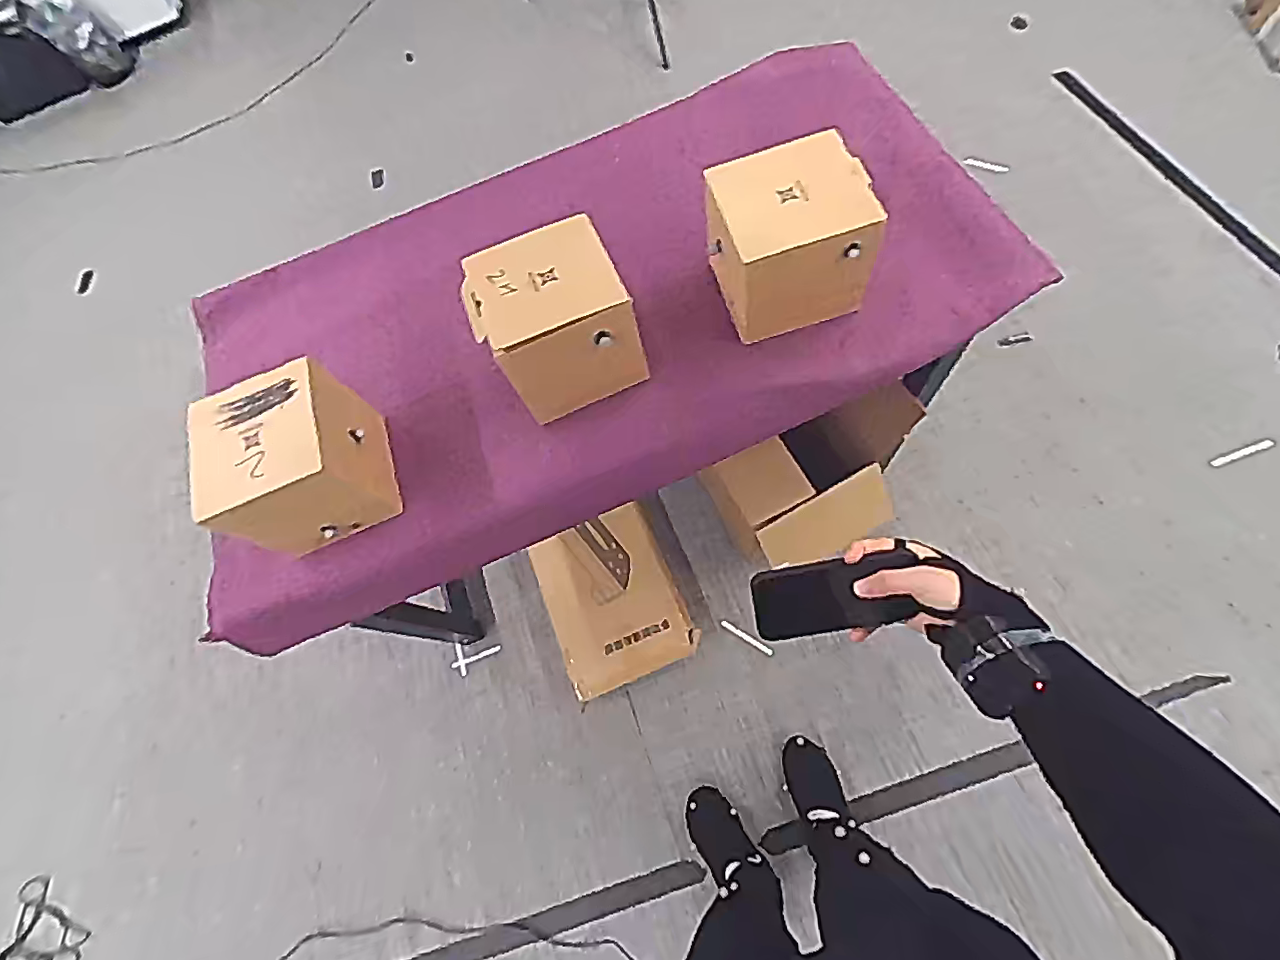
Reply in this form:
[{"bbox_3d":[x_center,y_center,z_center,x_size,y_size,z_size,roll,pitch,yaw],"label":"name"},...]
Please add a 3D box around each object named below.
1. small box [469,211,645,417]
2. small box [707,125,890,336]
[{"bbox_3d":[-0.101,-0.216,0.735,0.179,0.176,0.168,-23,65,0],"label":"small box"},{"bbox_3d":[0.199,-0.321,0.726,0.179,0.176,0.168,-17,67,3],"label":"small box"}]
